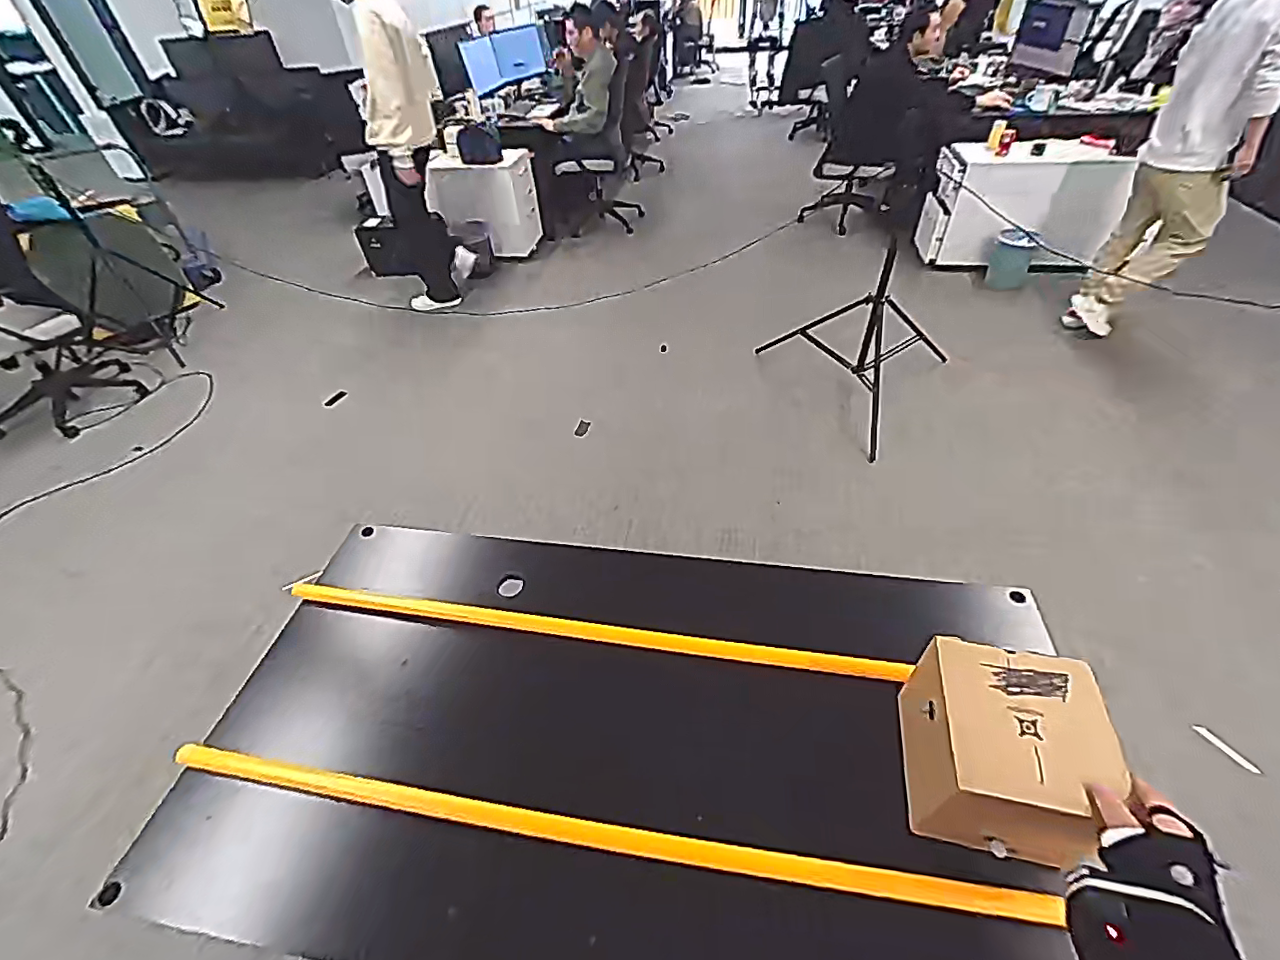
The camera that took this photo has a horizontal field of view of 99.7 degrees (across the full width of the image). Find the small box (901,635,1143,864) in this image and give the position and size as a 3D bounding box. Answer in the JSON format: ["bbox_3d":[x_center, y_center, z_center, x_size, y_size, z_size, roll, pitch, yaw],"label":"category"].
[{"bbox_3d":[0.420,0.315,0.638,0.168,0.176,0.179,7,46,13],"label":"small box"}]
